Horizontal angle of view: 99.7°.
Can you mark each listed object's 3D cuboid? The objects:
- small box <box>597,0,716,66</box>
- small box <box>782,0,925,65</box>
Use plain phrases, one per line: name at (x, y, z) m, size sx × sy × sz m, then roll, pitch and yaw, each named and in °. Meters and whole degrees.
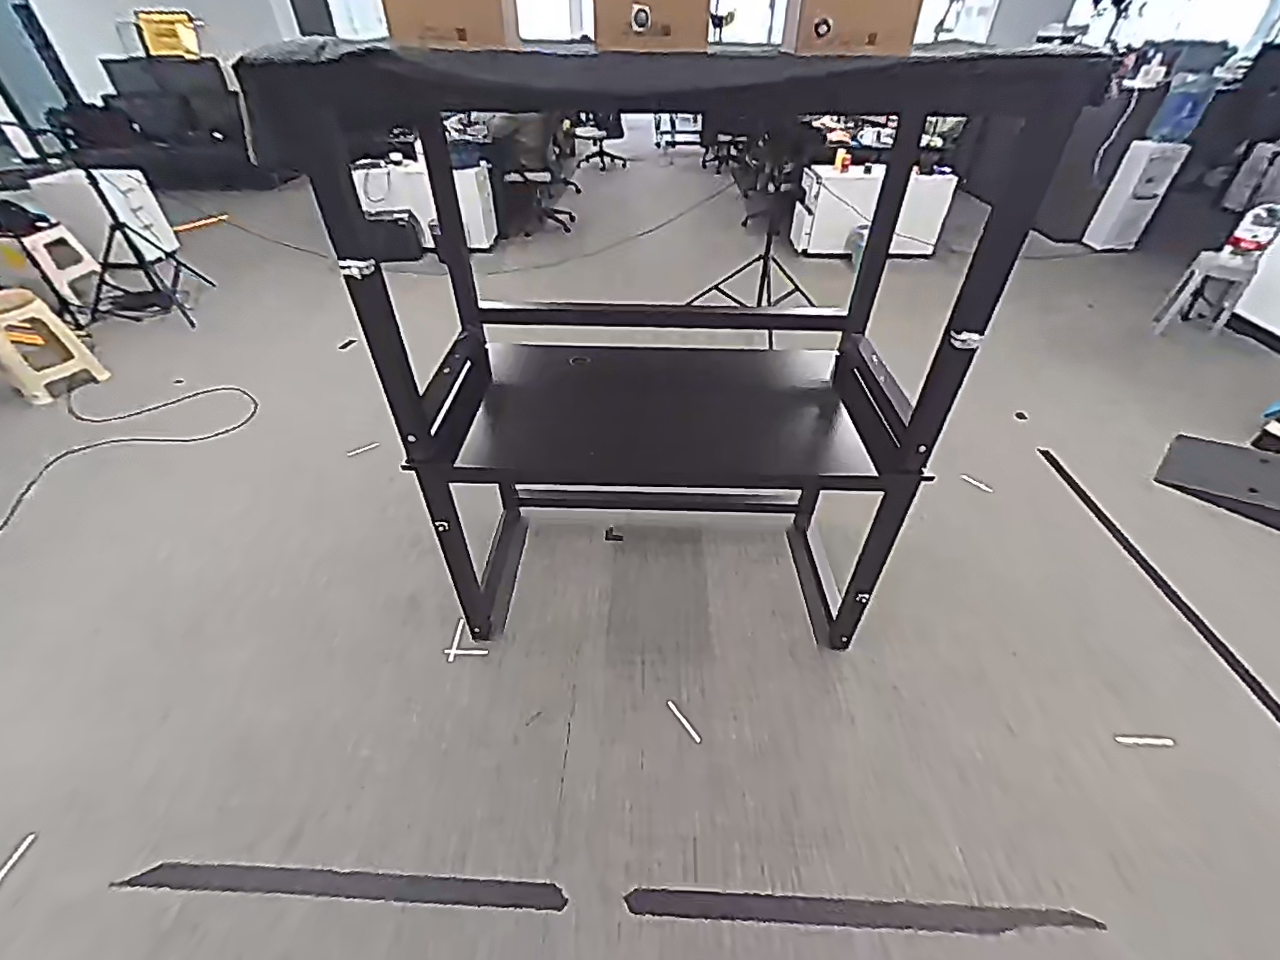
small box at (0.027, -0.711, 0.783) m, size 0.168 × 0.176 × 0.179 m, roll 2°, pitch 39°, yaw 4°
small box at (0.311, -0.711, 0.783) m, size 0.168 × 0.176 × 0.179 m, roll 2°, pitch 39°, yaw 3°
